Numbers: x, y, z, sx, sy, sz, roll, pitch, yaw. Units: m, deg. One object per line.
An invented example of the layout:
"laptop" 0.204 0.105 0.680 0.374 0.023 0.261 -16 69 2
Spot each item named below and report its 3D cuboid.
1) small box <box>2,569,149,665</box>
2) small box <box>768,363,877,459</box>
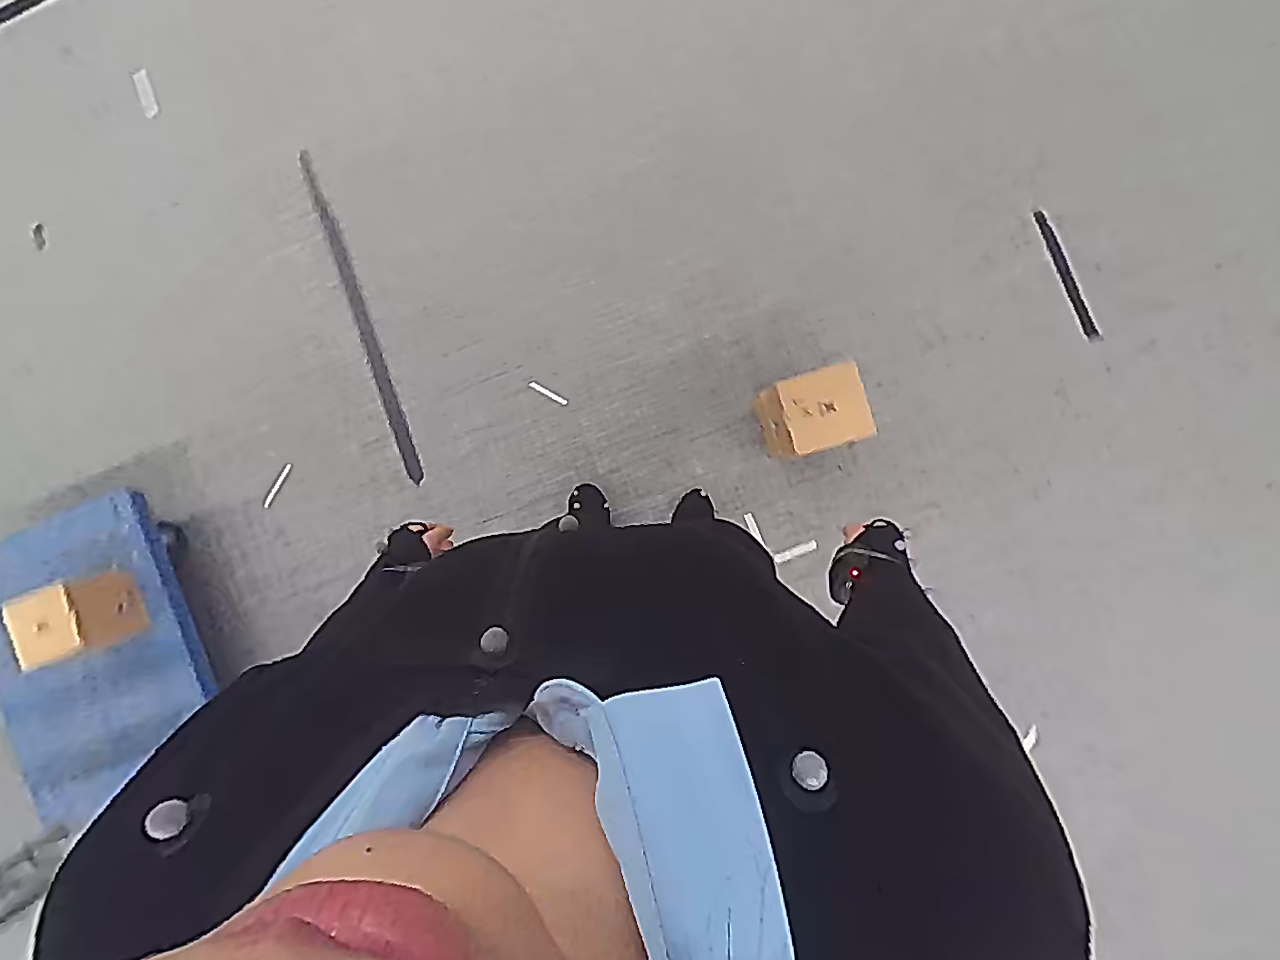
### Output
"small box" -1.412 0.338 1.362 0.179 0.176 0.168 -22 88 5
"small box" 0.403 -0.149 1.220 0.179 0.176 0.168 -15 87 6
